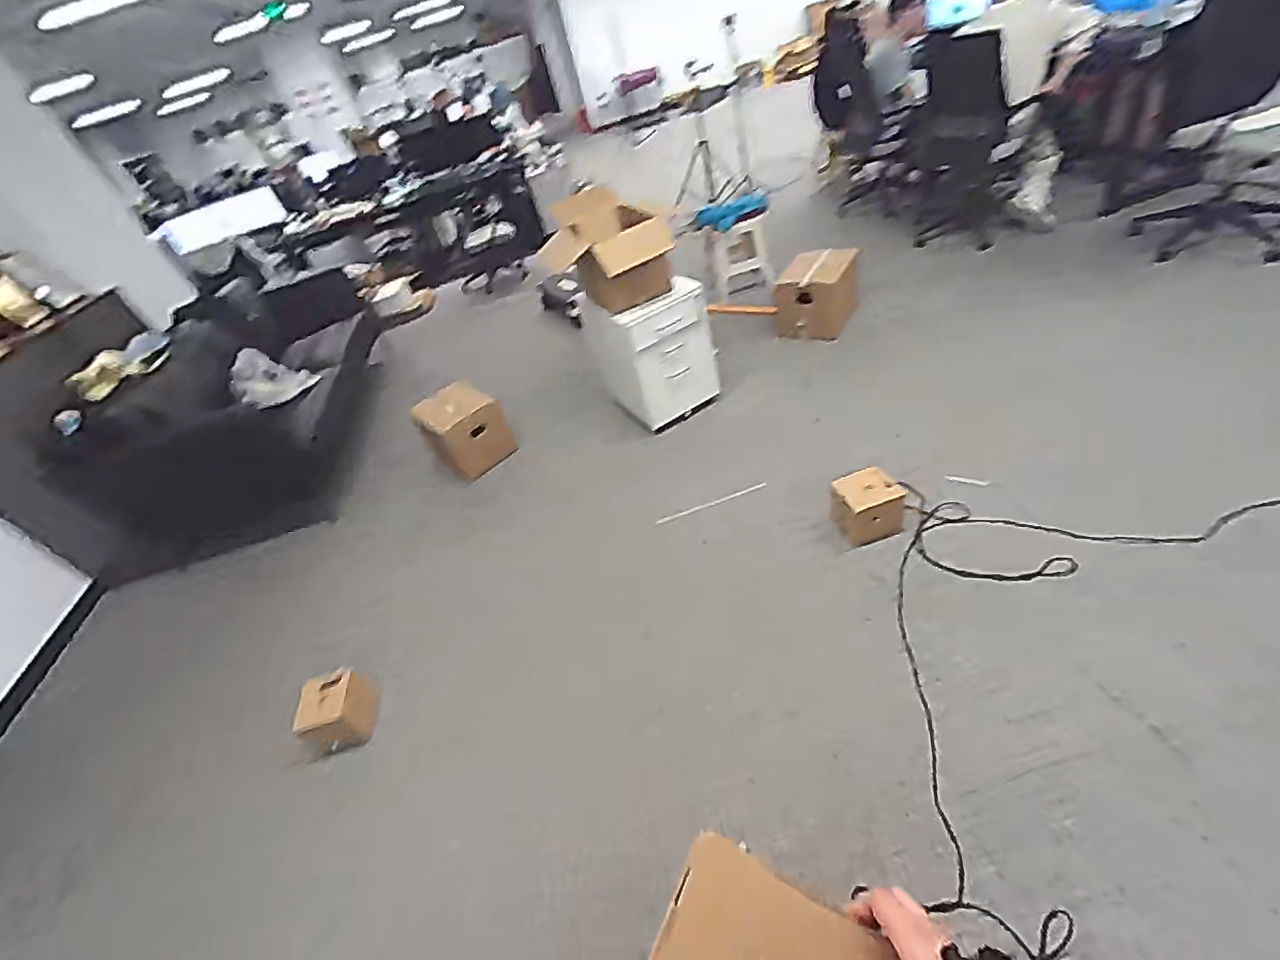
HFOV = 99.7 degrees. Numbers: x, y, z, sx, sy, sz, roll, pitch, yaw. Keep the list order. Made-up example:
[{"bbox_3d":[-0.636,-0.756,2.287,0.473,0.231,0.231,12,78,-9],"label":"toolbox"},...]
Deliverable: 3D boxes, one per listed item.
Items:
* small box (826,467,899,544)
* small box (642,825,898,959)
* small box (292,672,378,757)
[{"bbox_3d":[0.762,0.092,1.849,0.179,0.176,0.168,-21,40,-2],"label":"small box"},{"bbox_3d":[0.094,0.443,0.477,0.179,0.176,0.168,22,57,17],"label":"small box"},{"bbox_3d":[-0.986,0.769,1.770,0.168,0.176,0.179,-18,40,0],"label":"small box"}]
